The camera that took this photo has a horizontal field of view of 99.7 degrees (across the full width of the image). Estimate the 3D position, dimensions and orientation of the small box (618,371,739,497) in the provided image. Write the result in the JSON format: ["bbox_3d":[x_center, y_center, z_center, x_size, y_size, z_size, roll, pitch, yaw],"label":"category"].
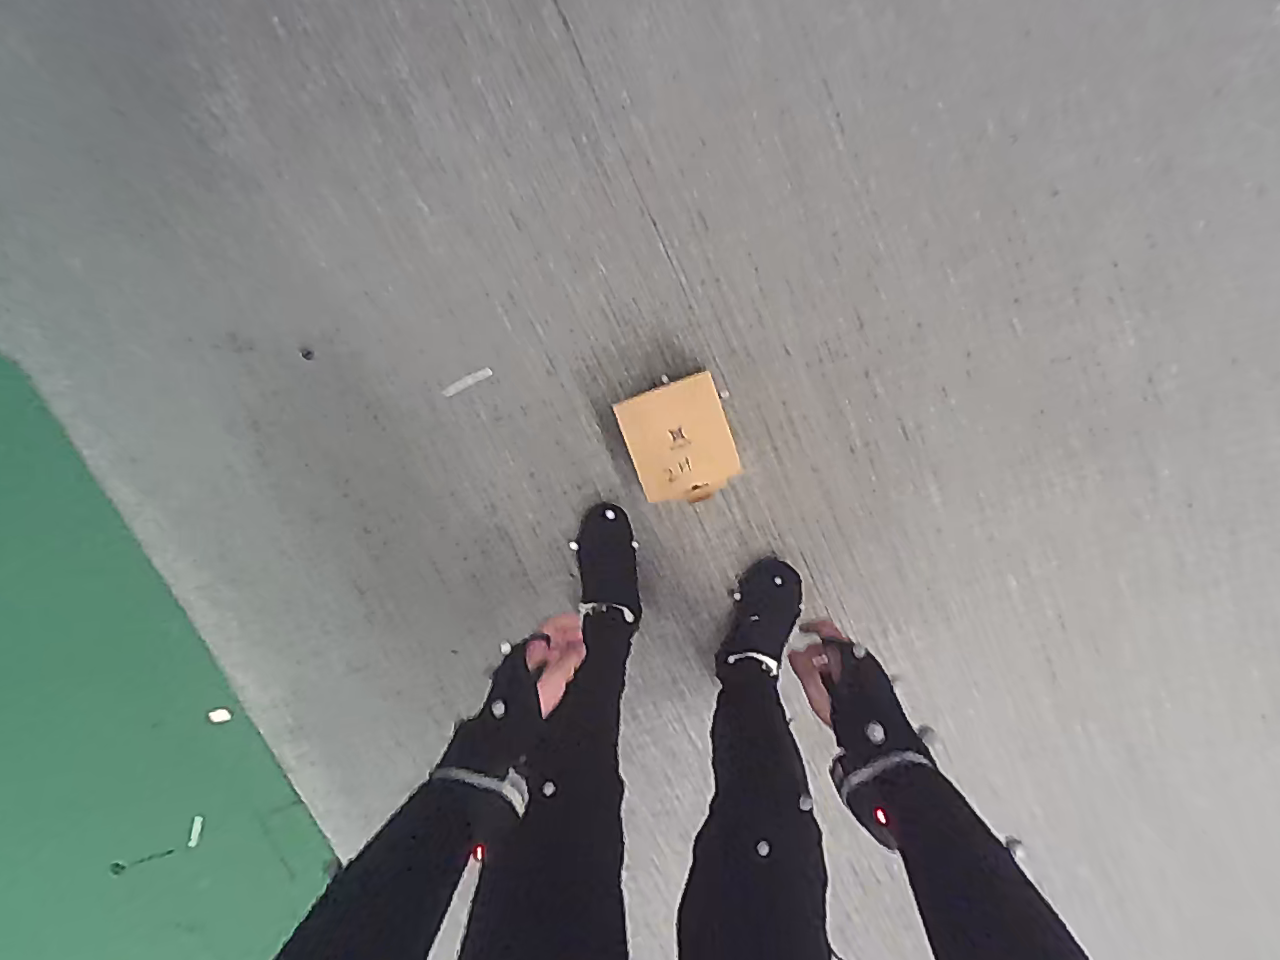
[{"bbox_3d":[0.071,-0.087,0.938,0.168,0.176,0.179,-12,102,12],"label":"small box"}]
